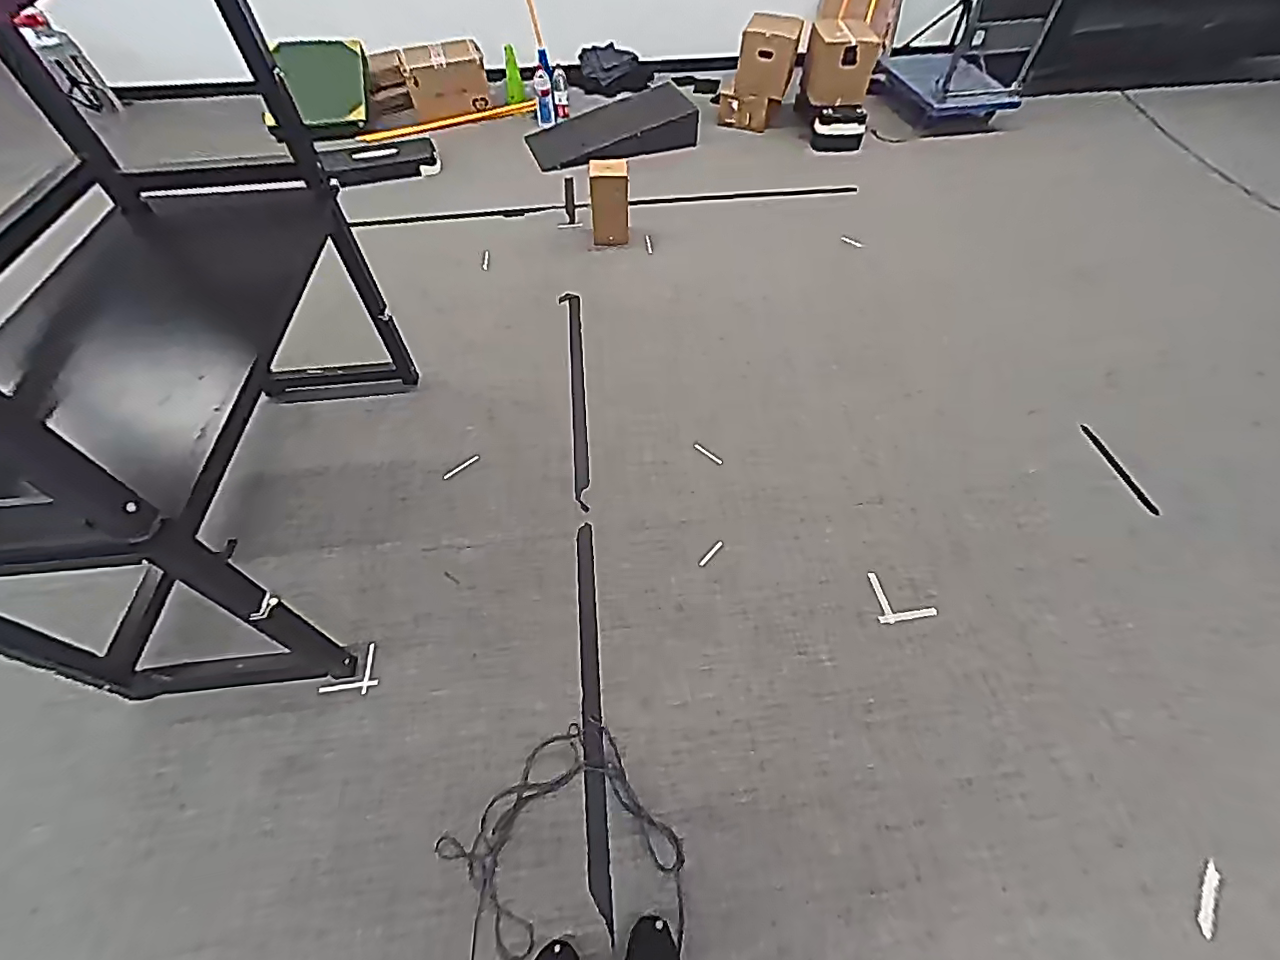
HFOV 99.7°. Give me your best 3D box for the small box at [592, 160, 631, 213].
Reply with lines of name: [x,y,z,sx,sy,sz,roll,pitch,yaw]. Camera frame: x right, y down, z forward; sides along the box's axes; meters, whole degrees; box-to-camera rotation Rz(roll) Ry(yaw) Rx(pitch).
small box: [-0.129,-1.374,2.535,0.179,0.176,0.168,-2,53,0]

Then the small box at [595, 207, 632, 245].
small box: [-0.135,-1.279,2.668,0.179,0.176,0.168,-3,54,-3]
